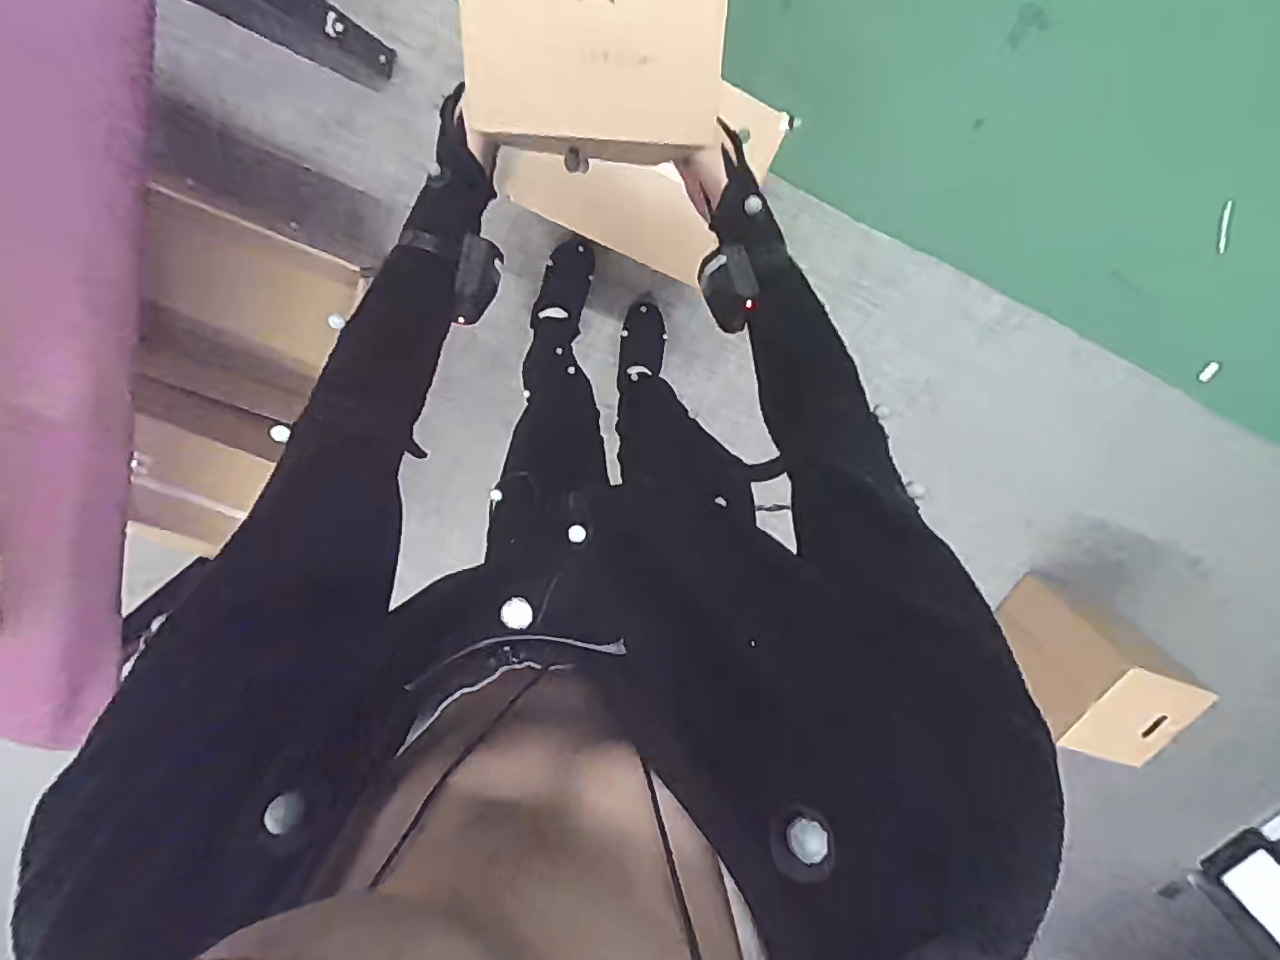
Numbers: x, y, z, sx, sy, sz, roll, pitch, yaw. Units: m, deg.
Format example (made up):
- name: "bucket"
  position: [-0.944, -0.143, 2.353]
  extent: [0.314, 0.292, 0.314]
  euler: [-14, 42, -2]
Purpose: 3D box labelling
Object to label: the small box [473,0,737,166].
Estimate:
- name: "small box"
  position: [-0.027, -0.343, 0.399]
  extent: [0.168, 0.176, 0.179]
  euler: [2, 118, -6]
